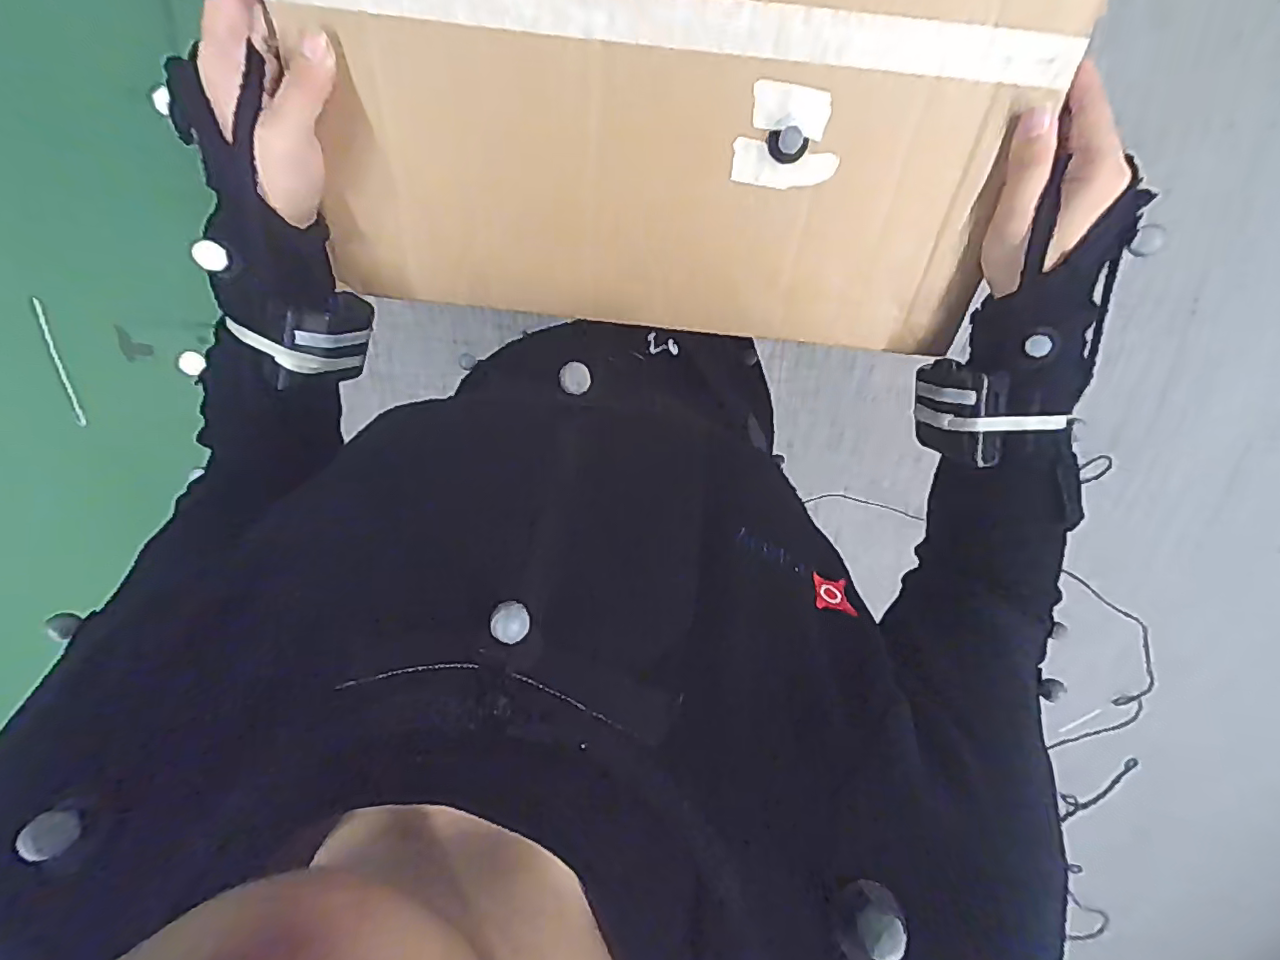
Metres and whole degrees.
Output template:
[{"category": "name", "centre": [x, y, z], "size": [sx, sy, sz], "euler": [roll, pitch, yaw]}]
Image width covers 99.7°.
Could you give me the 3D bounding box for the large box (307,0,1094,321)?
[{"category": "large box", "centre": [0.030, -0.331, 0.394], "size": [0.408, 0.320, 0.320], "euler": [5, 127, -2]}]
